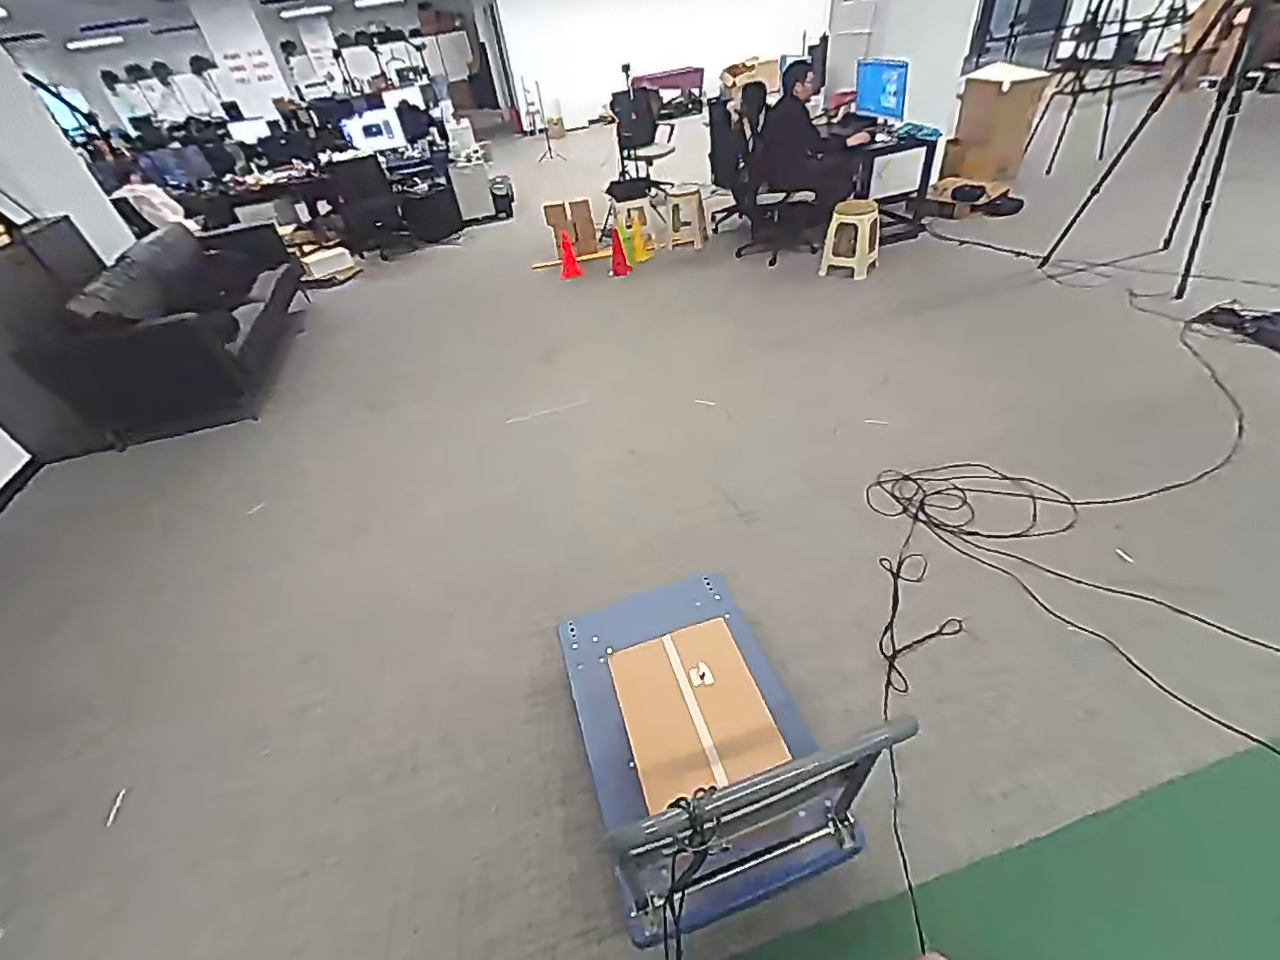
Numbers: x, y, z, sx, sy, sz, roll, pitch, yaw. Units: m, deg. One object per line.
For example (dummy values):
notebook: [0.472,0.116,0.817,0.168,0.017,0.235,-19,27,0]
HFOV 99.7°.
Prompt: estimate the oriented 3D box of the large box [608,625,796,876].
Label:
large box: [0.140,0.642,1.315,0.320,0.320,0.408,-15,40,-8]
